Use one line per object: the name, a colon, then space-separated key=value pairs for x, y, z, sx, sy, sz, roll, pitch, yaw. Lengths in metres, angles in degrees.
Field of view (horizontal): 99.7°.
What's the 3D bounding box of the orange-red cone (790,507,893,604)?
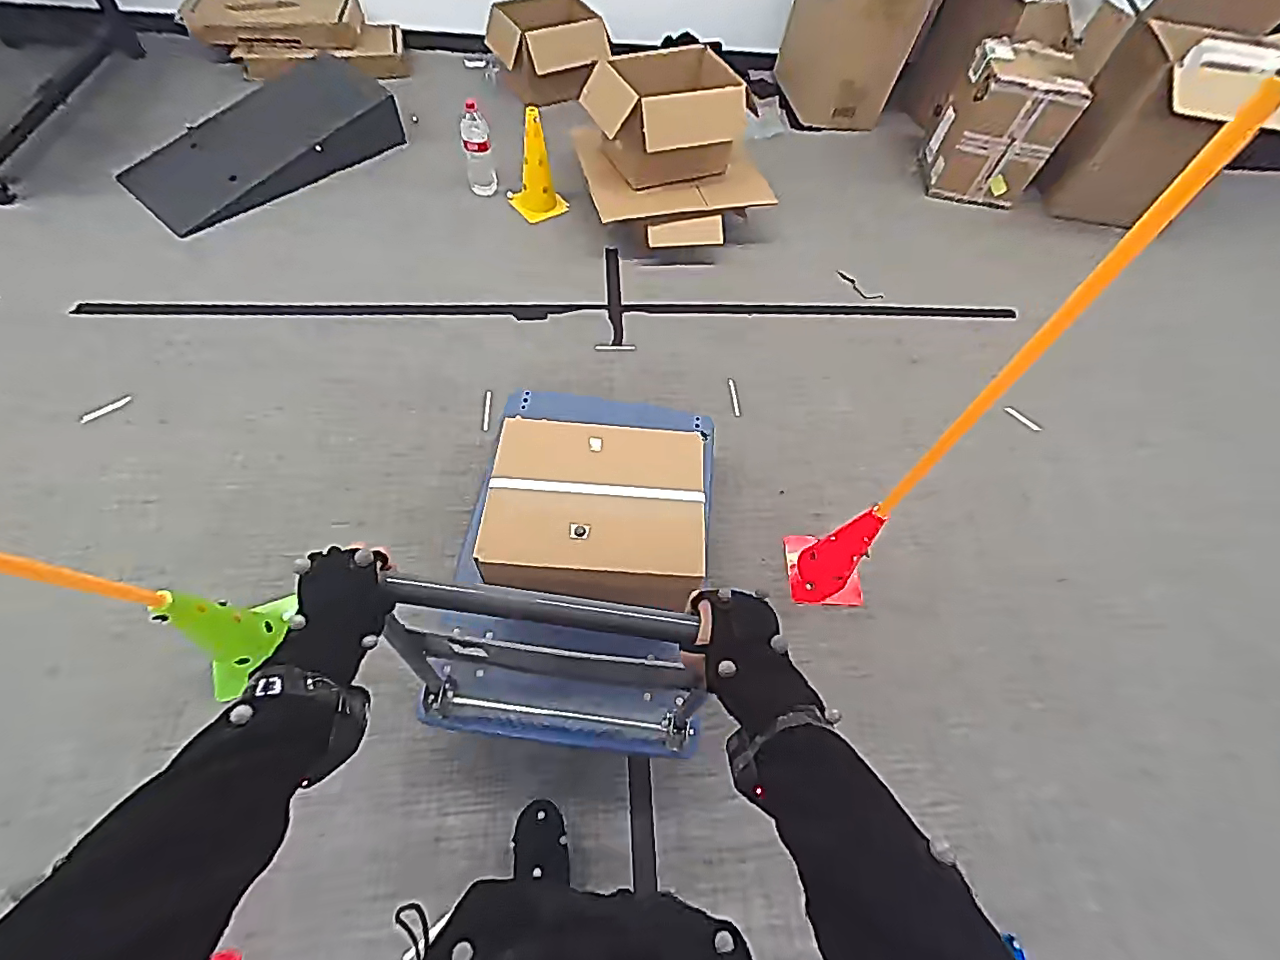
orange-red cone: x=0.535 y=0.160 z=1.358 sx=0.199 sy=0.360 sz=0.198 roll=5 pitch=60 yaw=-4
